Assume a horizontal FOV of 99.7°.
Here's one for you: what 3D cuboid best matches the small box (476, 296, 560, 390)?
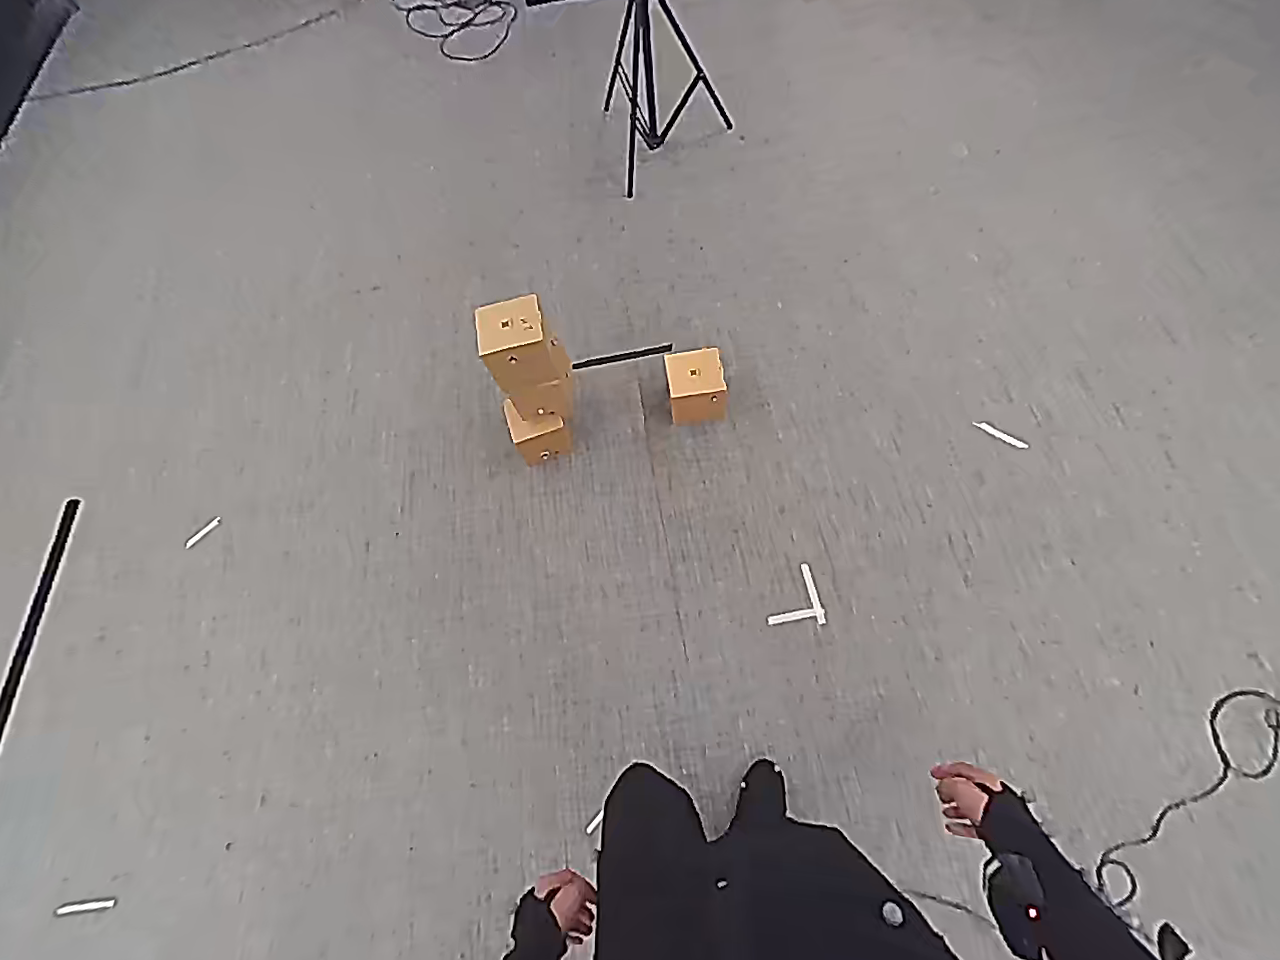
[{"bbox_3d":[-0.333,-0.369,1.483,0.179,0.176,0.168,-13,64,1],"label":"small box"}]

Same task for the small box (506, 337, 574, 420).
[{"bbox_3d":[-0.299,-0.303,1.630,0.168,0.176,0.179,-7,65,5],"label":"small box"}]

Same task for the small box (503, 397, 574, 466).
[{"bbox_3d":[-0.325,-0.173,1.754,0.168,0.176,0.179,-20,65,-2],"label":"small box"}]

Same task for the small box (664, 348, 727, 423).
[{"bbox_3d":[0.180,-0.299,1.754,0.179,0.176,0.168,-8,65,2],"label":"small box"}]
